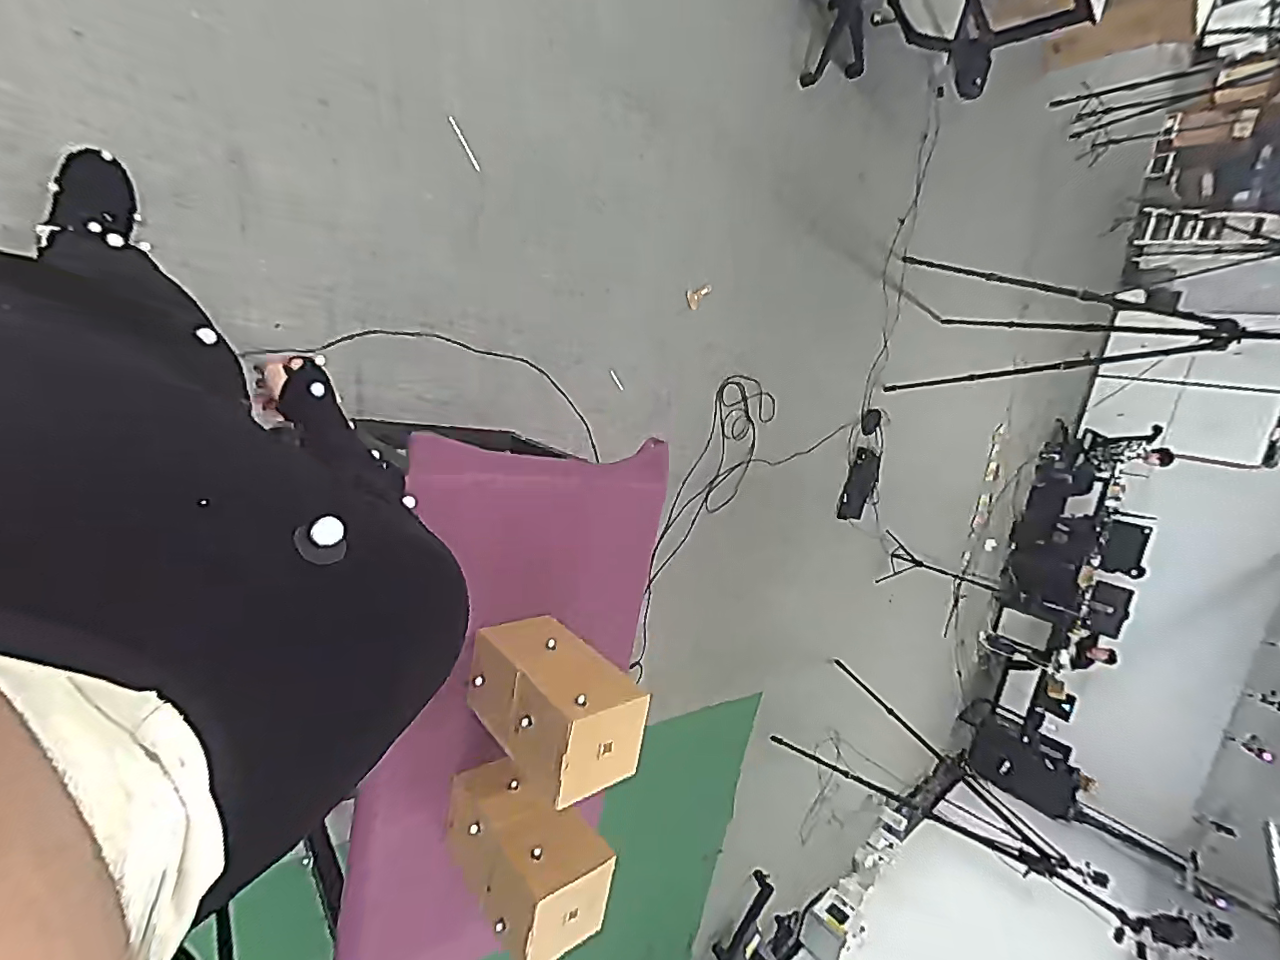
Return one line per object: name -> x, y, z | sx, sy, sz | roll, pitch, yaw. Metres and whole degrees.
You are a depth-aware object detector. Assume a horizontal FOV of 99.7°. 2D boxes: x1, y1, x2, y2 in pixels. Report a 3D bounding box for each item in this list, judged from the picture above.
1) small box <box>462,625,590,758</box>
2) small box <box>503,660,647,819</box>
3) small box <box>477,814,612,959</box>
small box -> -0.228, 0.405, 1.076 | 0.179, 0.176, 0.168 | 1, 103, -43
small box -> -0.118, 0.444, 0.963 | 0.179, 0.176, 0.168 | 1, 104, -43
small box -> -0.183, 0.765, 1.010 | 0.179, 0.176, 0.168 | 4, 102, -45
